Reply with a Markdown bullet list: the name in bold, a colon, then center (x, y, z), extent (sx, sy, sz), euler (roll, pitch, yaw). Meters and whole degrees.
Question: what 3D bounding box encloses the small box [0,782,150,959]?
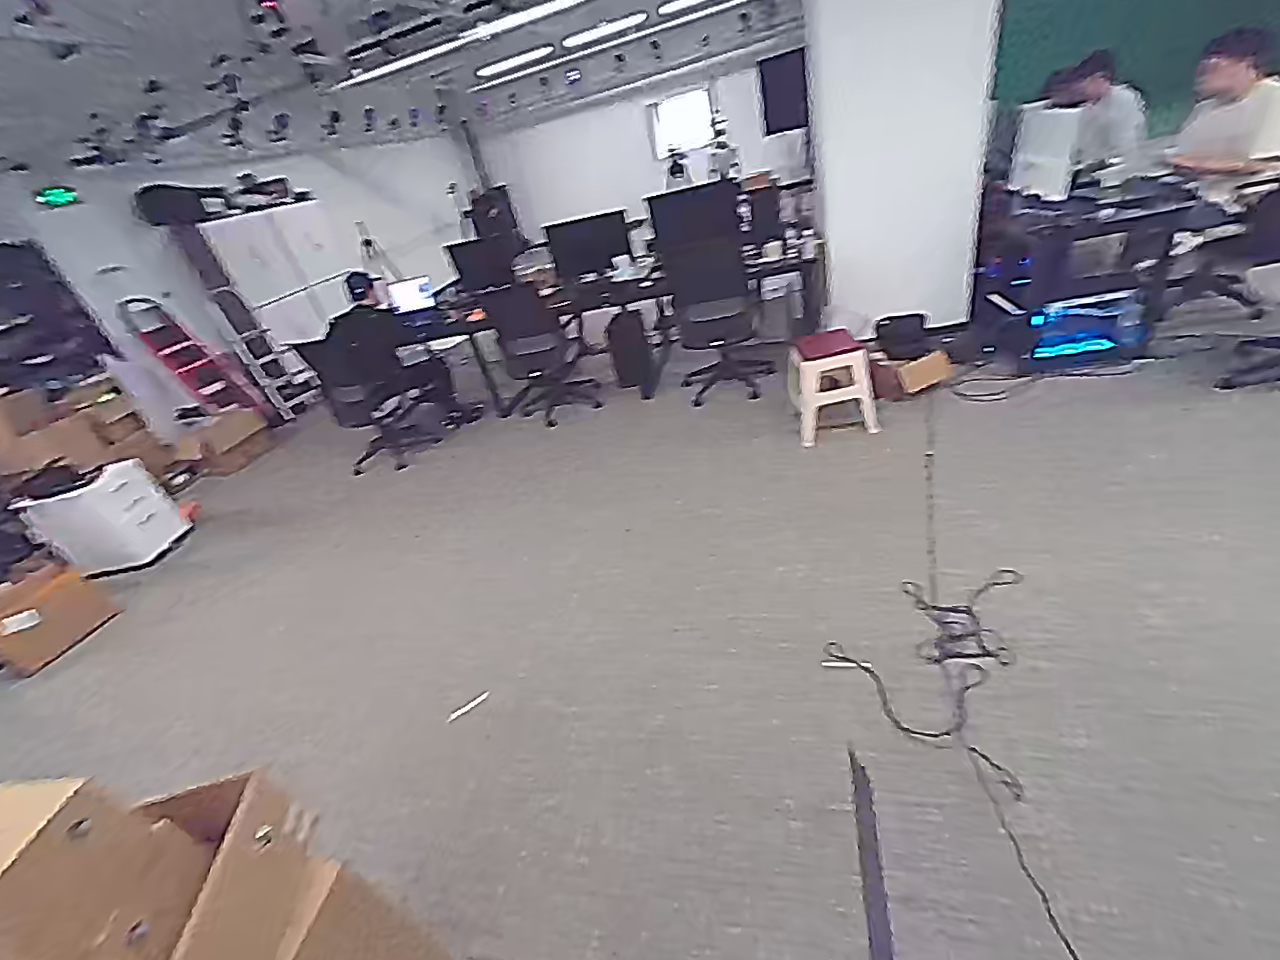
- **small box**: center (-0.836, 0.545, 0.738), extent (0.168, 0.176, 0.179), euler (-9, 34, 9)
